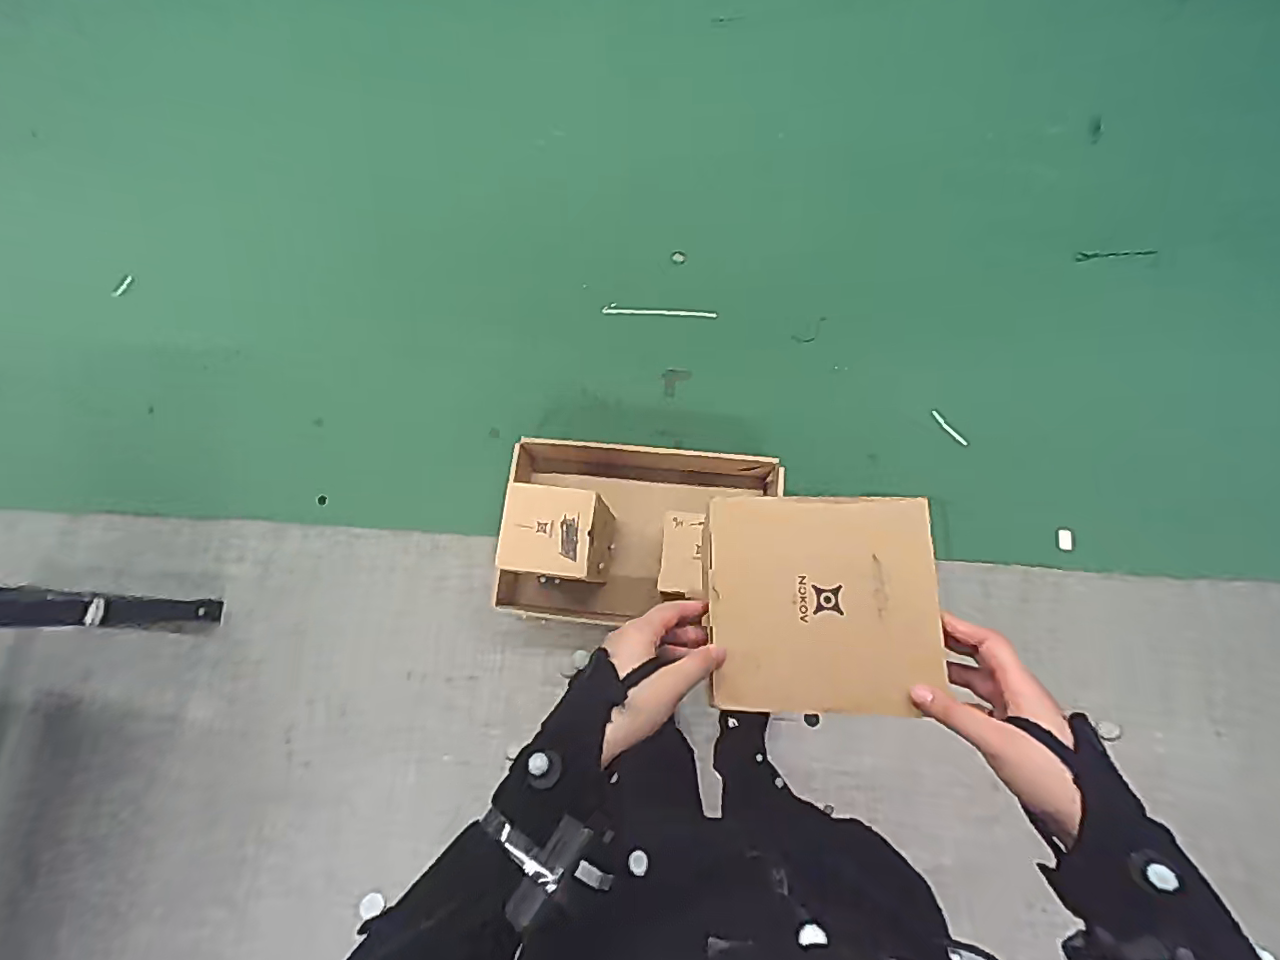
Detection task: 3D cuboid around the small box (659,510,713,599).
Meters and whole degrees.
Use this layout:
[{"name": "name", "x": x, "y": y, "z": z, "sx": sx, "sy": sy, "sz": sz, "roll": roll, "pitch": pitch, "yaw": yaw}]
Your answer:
[{"name": "small box", "x": 0.137, "y": 0.174, "z": 1.216, "sx": 0.168, "sy": 0.176, "sz": 0.179, "roll": 7, "pitch": 78, "yaw": 5}]

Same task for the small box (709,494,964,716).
[{"name": "small box", "x": 0.153, "y": 0.112, "z": 0.490, "sx": 0.179, "sy": 0.176, "sz": 0.168, "roll": -1, "pitch": 75, "yaw": 3}]

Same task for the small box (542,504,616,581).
[{"name": "small box", "x": -0.156, "y": 0.141, "z": 1.238, "sx": 0.179, "sy": 0.176, "sz": 0.168, "roll": 5, "pitch": 78, "yaw": 3}]

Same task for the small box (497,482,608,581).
[{"name": "small box", "x": -0.164, "y": 0.108, "z": 1.077, "sx": 0.179, "sy": 0.176, "sz": 0.168, "roll": 6, "pitch": 77, "yaw": 5}]
